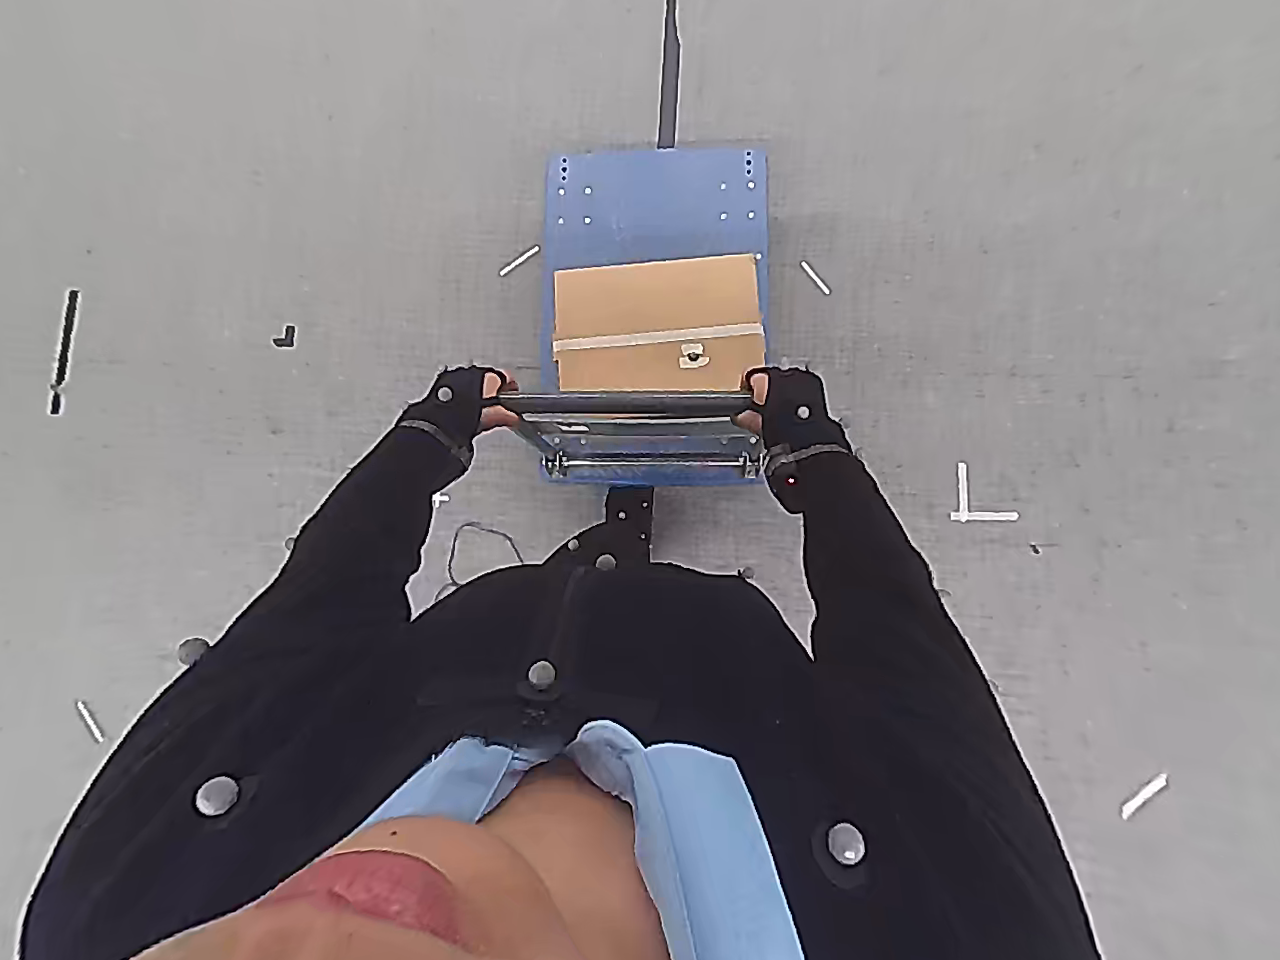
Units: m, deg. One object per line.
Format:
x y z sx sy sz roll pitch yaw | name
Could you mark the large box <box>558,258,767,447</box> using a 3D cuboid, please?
0.047 -0.263 1.222 0.408 0.320 0.320 -4 86 3 | large box
